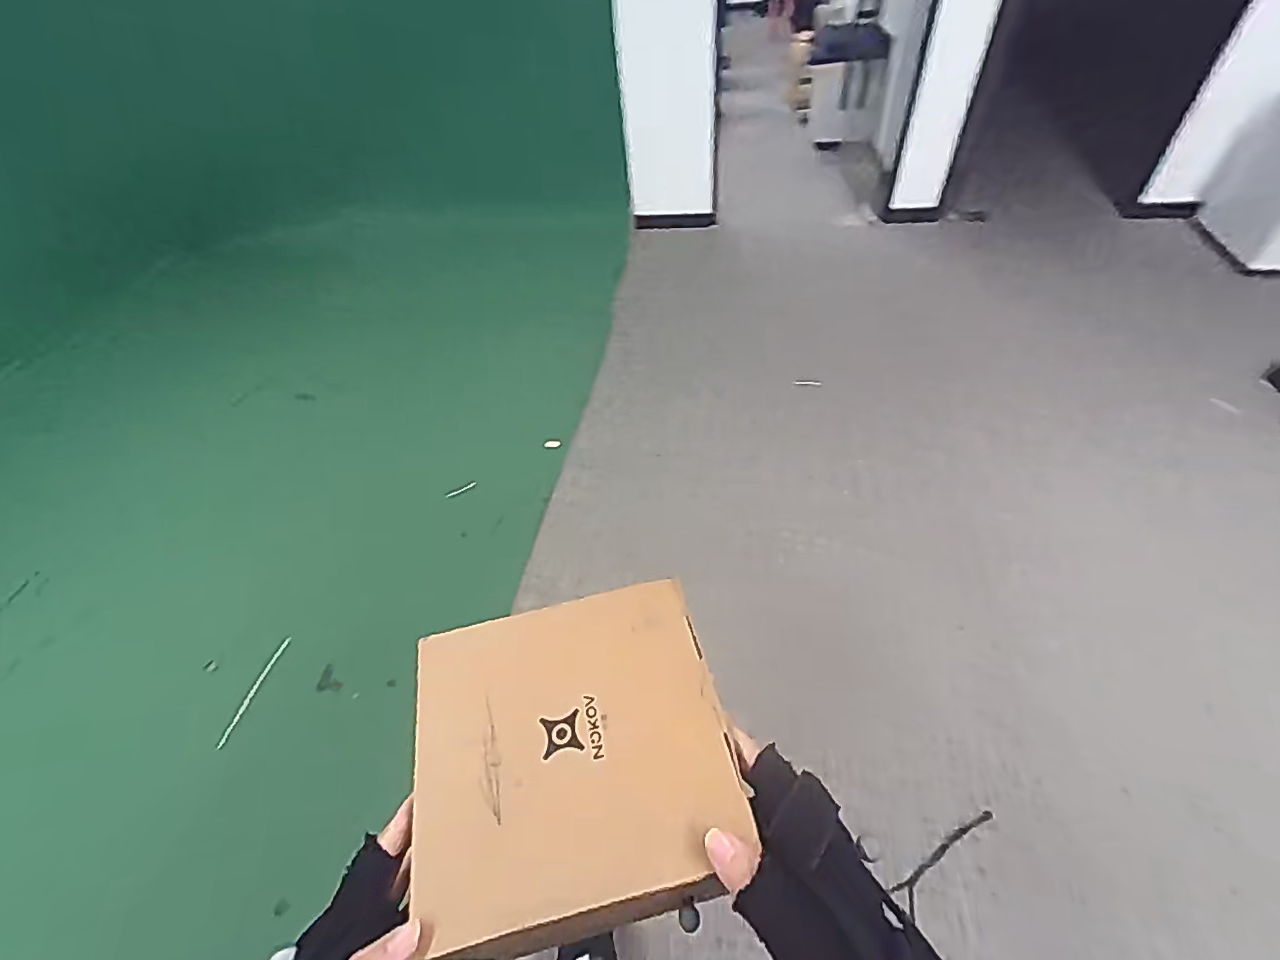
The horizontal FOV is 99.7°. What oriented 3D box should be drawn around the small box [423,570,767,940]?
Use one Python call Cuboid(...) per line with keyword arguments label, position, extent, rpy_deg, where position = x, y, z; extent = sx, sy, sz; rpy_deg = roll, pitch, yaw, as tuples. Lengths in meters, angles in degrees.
Cuboid(label="small box", position=(-0.030, 0.192, 0.376), extent=(0.179, 0.176, 0.168), rpy_deg=(-14, 48, -4))
